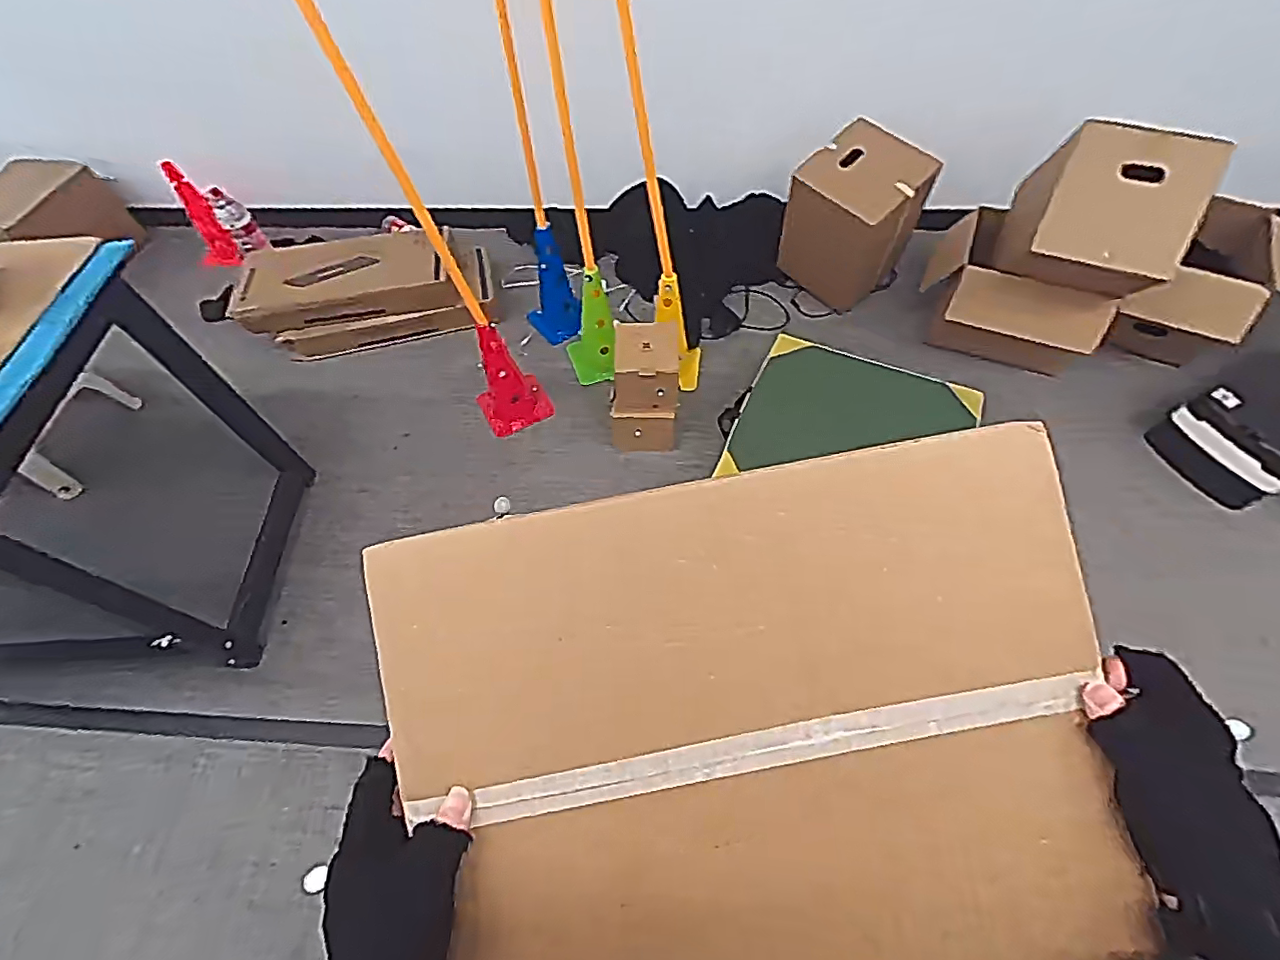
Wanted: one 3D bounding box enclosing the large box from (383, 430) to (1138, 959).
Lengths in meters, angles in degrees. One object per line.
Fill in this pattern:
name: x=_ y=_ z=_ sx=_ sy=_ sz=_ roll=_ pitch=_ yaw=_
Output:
large box: x=0.067 y=0.167 z=0.469 sx=0.408 sy=0.320 sz=0.320 roll=-11 pitch=88 yaw=0
